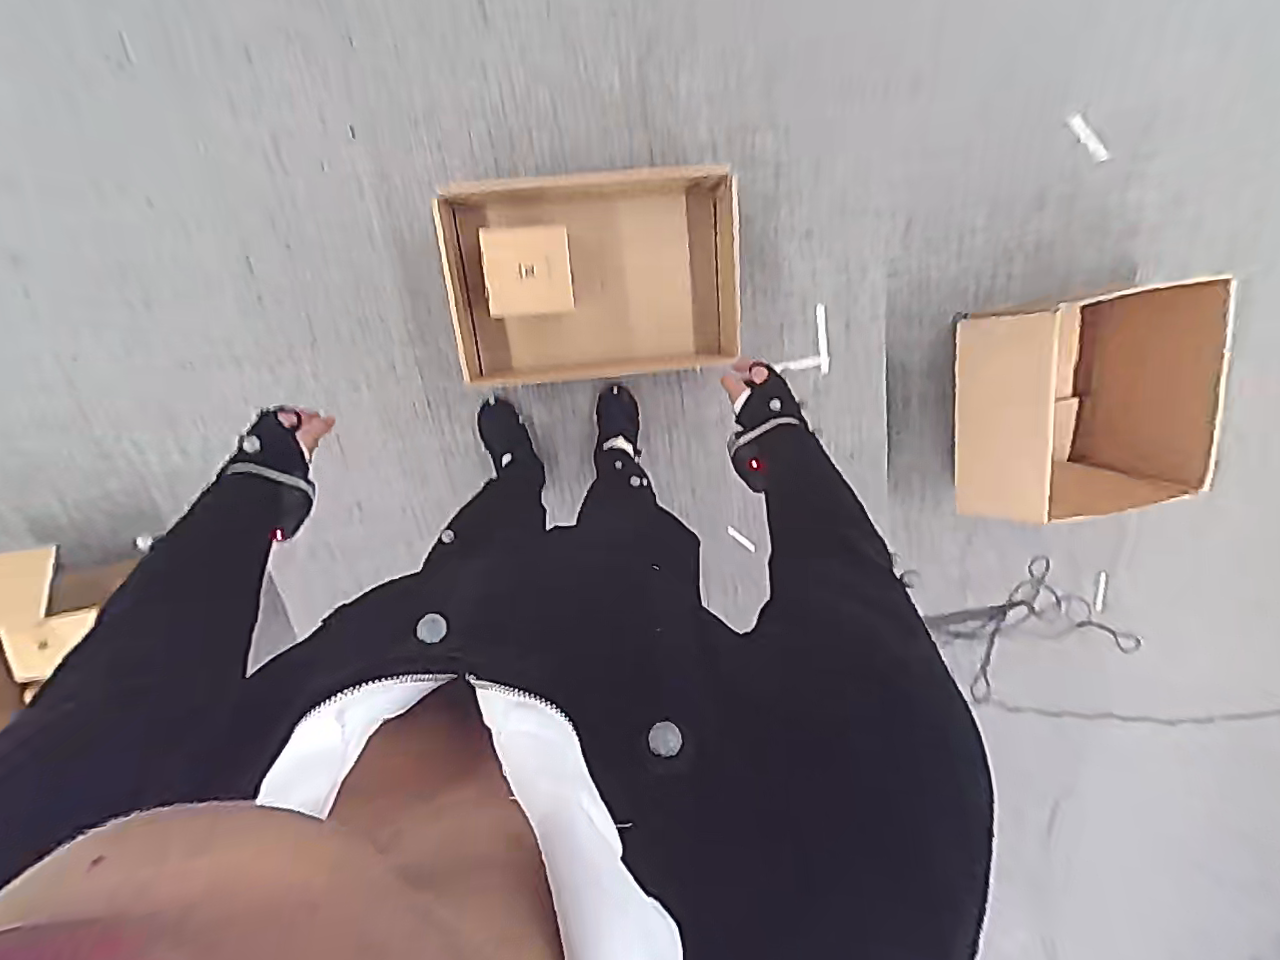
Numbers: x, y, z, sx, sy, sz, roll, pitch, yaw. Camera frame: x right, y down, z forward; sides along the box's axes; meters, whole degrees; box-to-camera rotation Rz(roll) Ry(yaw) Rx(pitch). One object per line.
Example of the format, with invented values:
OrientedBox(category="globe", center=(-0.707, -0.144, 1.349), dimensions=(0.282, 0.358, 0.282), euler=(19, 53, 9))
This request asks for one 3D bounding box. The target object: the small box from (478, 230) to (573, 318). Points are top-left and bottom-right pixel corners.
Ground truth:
OrientedBox(category="small box", center=(-0.242, -0.445, 1.185), dimensions=(0.179, 0.176, 0.168), euler=(-7, 110, -6))
